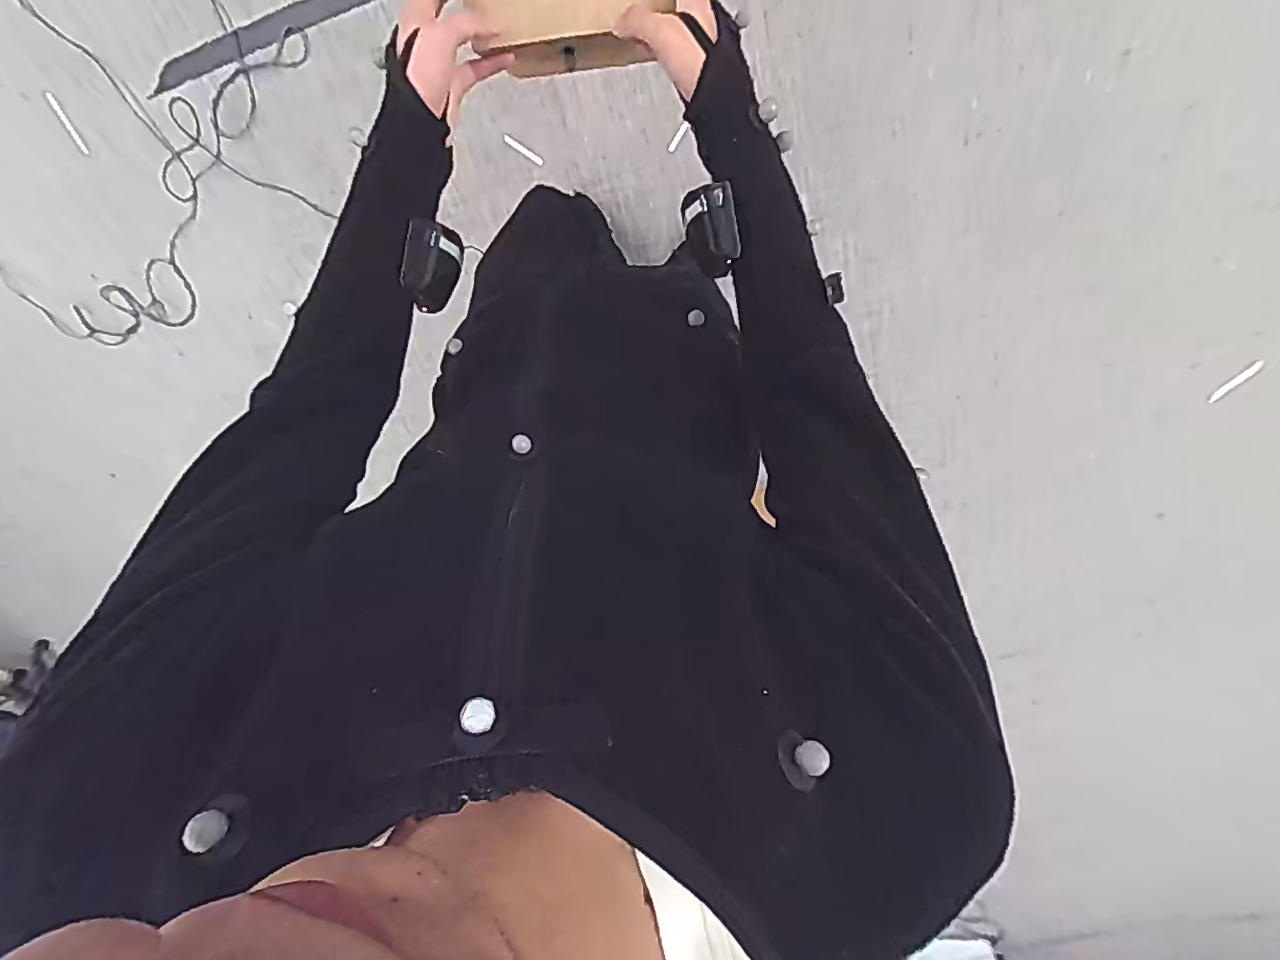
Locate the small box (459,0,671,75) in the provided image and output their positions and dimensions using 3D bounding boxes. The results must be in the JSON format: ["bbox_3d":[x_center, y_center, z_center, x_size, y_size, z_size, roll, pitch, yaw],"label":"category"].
[{"bbox_3d":[-0.063,-0.480,0.481,0.179,0.176,0.168,-4,120,4],"label":"small box"}]
